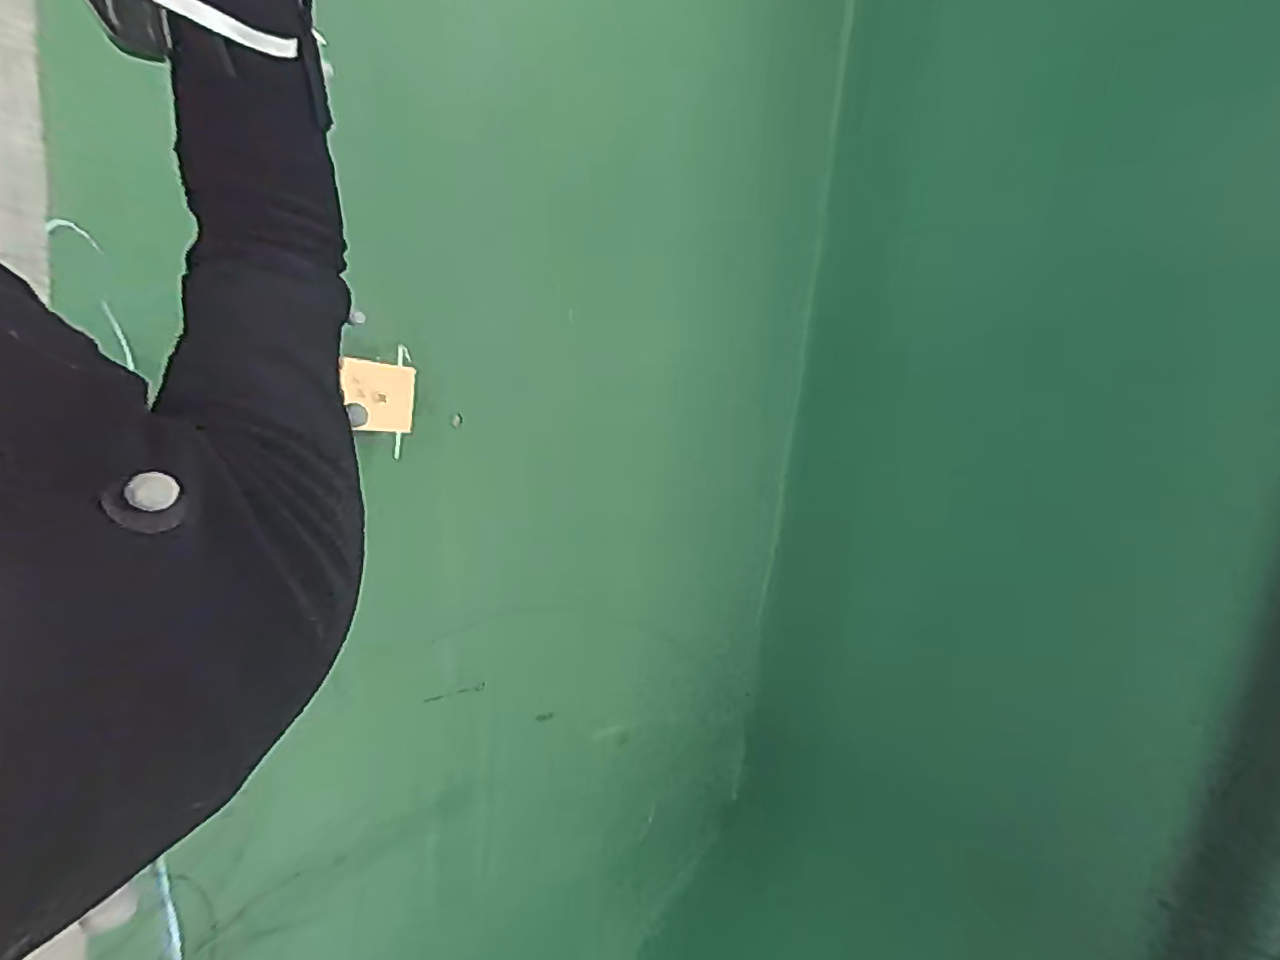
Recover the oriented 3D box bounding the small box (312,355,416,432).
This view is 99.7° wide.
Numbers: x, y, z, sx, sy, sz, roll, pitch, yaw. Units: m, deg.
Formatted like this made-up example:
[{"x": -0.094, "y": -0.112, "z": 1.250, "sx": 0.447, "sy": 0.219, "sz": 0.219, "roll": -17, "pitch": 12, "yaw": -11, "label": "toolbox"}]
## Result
[{"x": -0.695, "y": -0.218, "z": 1.361, "sx": 0.179, "sy": 0.176, "sz": 0.168, "roll": 0, "pitch": 101, "yaw": -50, "label": "small box"}]
